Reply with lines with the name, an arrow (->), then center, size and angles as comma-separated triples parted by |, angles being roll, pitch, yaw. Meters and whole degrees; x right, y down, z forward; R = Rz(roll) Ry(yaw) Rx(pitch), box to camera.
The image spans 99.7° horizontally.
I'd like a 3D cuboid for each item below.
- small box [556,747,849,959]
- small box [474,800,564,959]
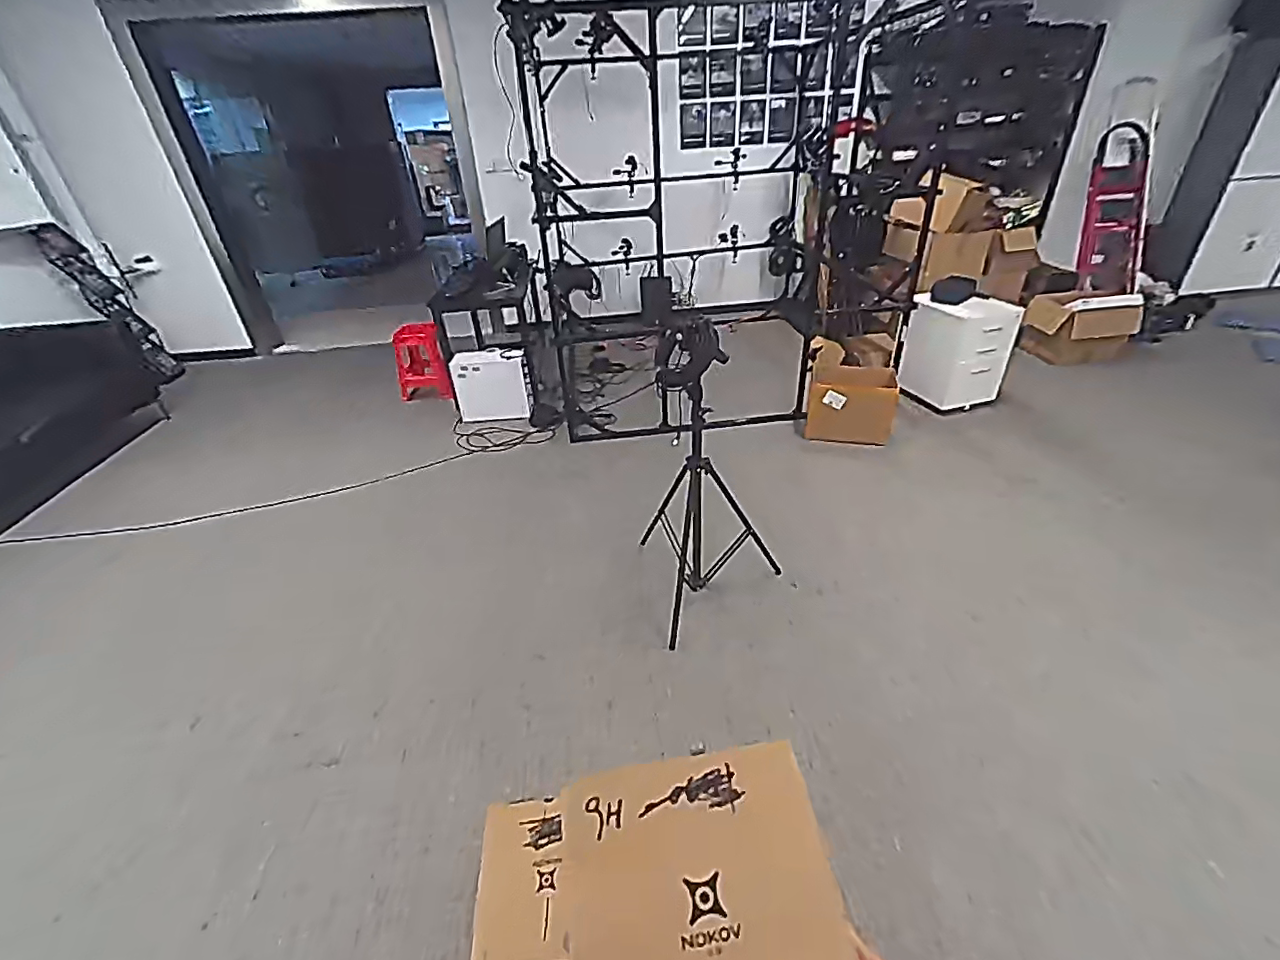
small box -> 0.037, 0.312, 0.383 | 0.168, 0.176, 0.179 | -7, 53, -5
small box -> -0.099, 0.534, 0.684 | 0.168, 0.176, 0.179 | -8, 35, -3
